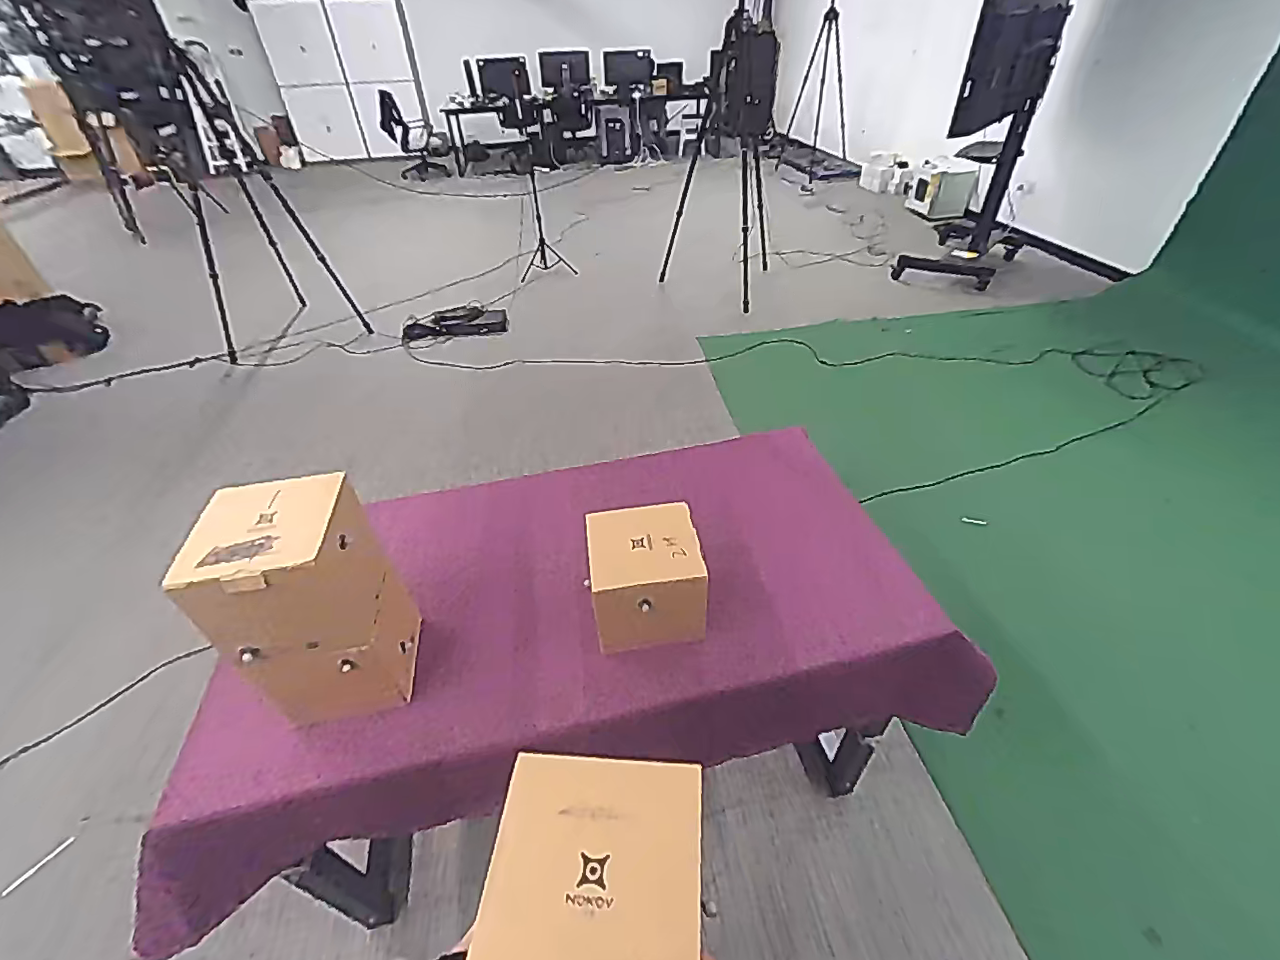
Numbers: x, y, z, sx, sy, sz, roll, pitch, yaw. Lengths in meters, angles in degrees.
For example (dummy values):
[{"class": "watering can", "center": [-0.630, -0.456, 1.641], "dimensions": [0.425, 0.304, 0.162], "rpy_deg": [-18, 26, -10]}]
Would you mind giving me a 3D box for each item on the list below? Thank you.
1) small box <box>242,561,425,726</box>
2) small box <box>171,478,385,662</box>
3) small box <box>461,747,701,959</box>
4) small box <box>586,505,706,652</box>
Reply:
[{"class": "small box", "center": [-0.456, 0.254, 0.838], "dimensions": [0.179, 0.176, 0.168], "rpy_deg": [-9, 40, -7]}, {"class": "small box", "center": [-0.466, 0.126, 0.735], "dimensions": [0.168, 0.176, 0.179], "rpy_deg": [-9, 39, -8]}, {"class": "small box", "center": [-0.033, 0.362, 0.471], "dimensions": [0.168, 0.176, 0.179], "rpy_deg": [1, 41, 7]}, {"class": "small box", "center": [0.010, 0.166, 0.900], "dimensions": [0.179, 0.176, 0.168], "rpy_deg": [-7, 41, -3]}]
